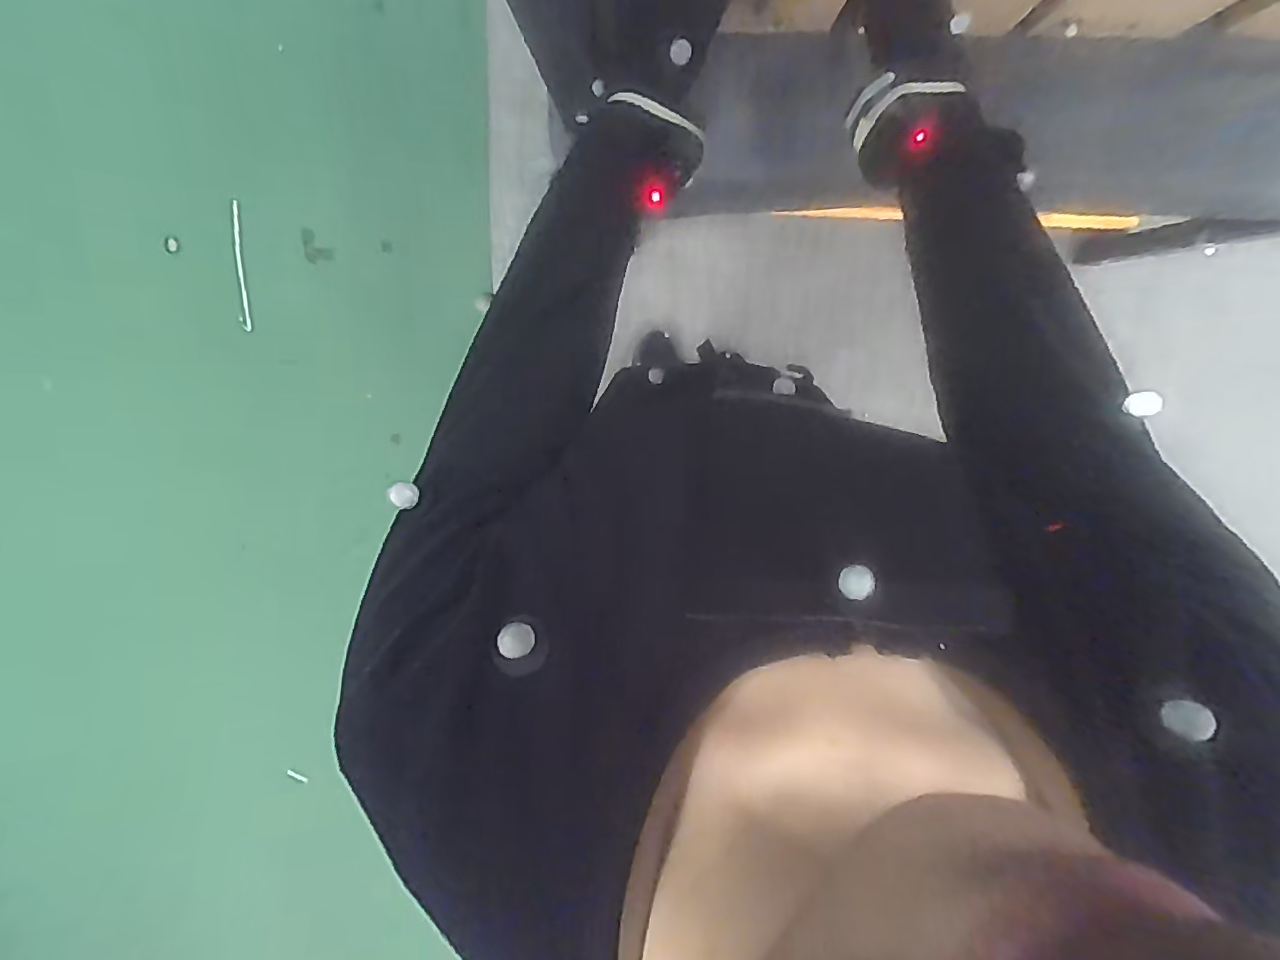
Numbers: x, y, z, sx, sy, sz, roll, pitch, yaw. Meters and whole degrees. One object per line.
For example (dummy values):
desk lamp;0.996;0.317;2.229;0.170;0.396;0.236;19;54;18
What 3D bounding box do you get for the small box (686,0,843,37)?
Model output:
small box;0.131;-0.573;0.518;0.168;0.176;0.179;1;104;3
